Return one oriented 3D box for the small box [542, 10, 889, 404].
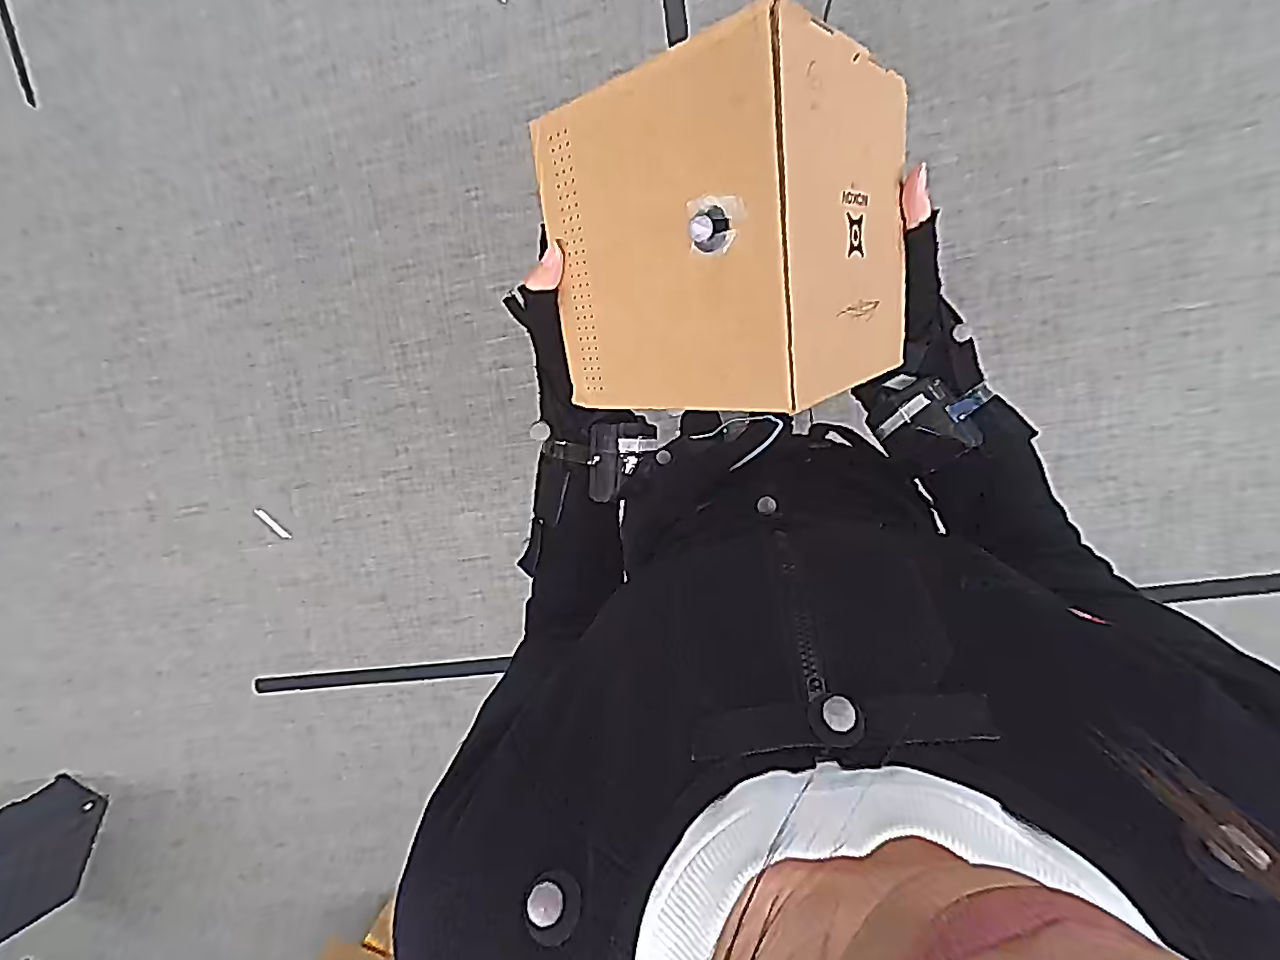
[{"bbox_3d":[0.053,-0.150,0.364,0.176,0.168,0.179,7,111,41],"label":"small box"}]
